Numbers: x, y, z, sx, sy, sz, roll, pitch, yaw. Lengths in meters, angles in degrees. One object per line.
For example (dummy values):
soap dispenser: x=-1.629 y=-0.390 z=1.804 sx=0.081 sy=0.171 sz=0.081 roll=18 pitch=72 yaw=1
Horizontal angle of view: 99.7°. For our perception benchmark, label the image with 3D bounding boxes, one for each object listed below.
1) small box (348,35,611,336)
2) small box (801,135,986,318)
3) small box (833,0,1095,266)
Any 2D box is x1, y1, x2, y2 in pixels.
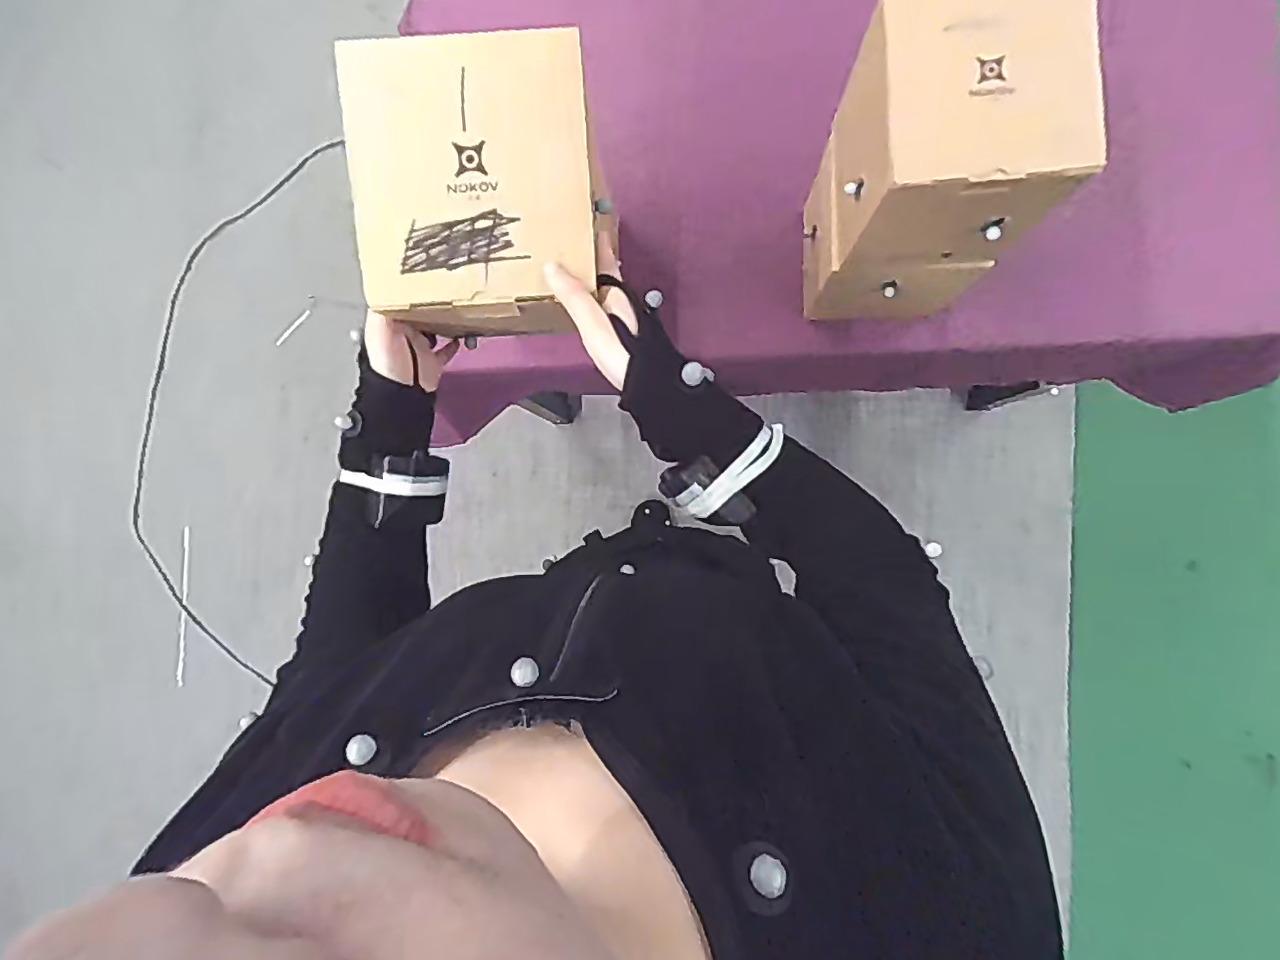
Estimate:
small box: x=-0.112 y=-0.218 z=0.451 sx=0.168 sy=0.176 sz=0.179 roll=-3 pitch=96 yaw=-1
small box: x=0.308 y=-0.312 z=0.689 sx=0.179 sy=0.176 sz=0.168 roll=1 pitch=89 yaw=6
small box: x=0.293 y=-0.323 z=0.527 sx=0.168 sy=0.176 sz=0.179 roll=-1 pitch=87 yaw=5
